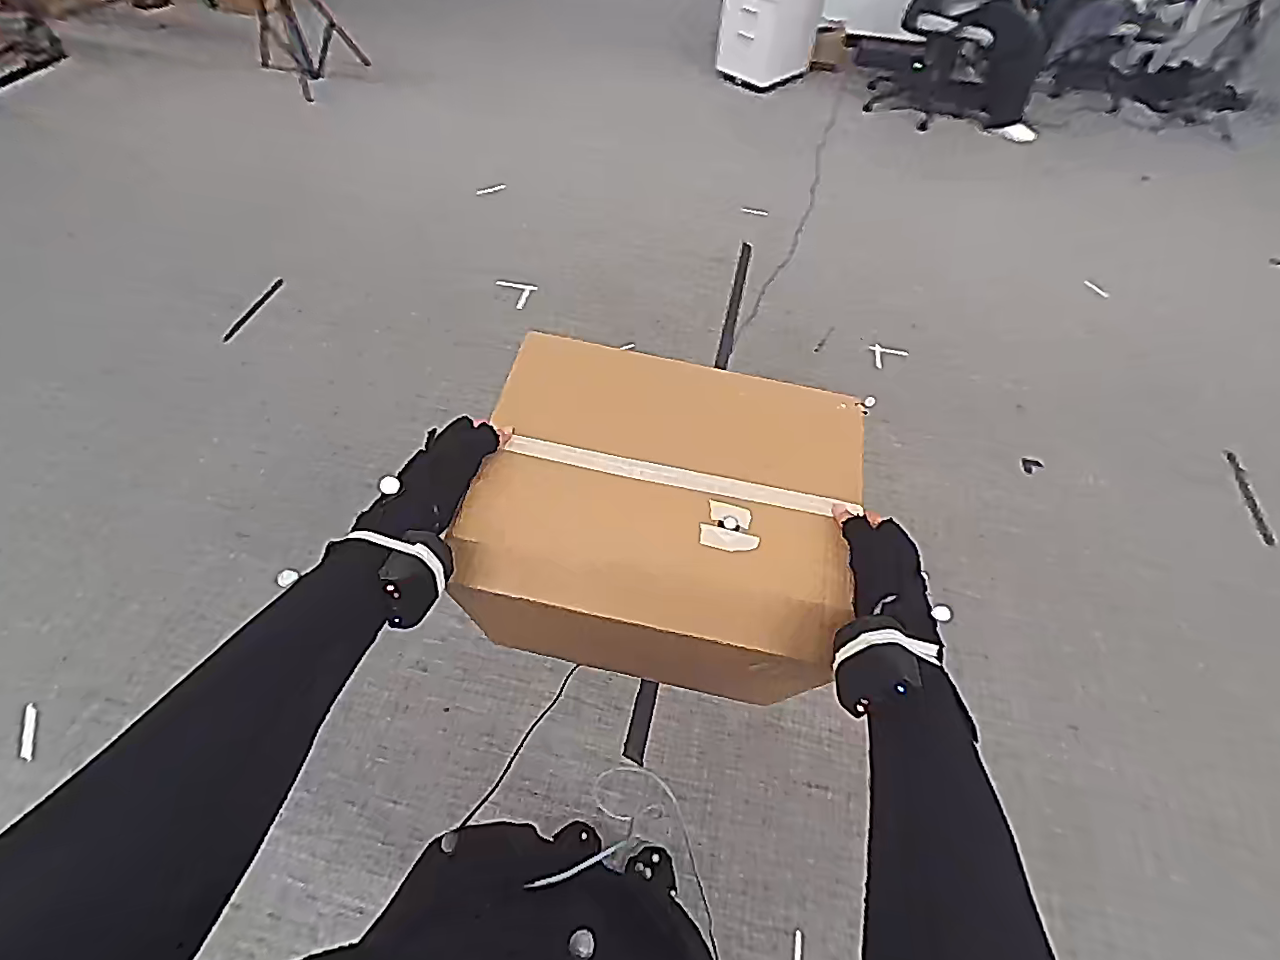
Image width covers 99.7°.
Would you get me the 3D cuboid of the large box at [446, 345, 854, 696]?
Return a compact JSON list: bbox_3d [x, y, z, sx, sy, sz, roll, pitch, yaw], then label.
[{"bbox_3d":[0.021,0.071,0.711,0.408,0.320,0.320,12,63,2],"label":"large box"}]
